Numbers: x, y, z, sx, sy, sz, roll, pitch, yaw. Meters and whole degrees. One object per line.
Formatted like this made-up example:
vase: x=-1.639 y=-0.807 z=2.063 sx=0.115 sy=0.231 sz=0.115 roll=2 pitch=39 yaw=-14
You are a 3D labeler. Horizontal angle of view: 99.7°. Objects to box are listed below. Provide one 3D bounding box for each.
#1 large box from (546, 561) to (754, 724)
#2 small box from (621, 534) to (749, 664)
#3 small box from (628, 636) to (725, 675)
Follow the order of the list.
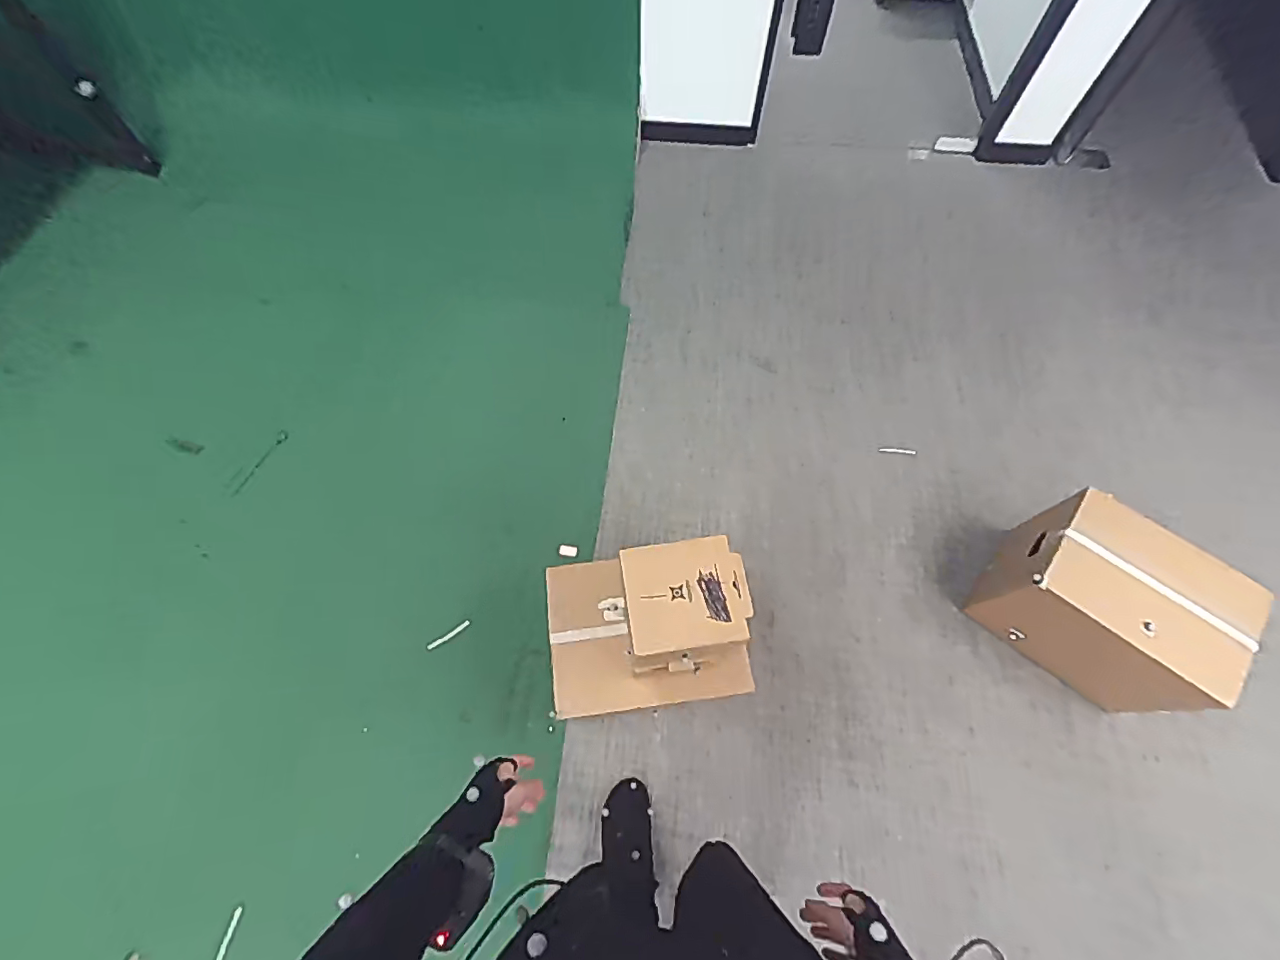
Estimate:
large box: x=0.015 y=0.373 z=1.262 sx=0.408 sy=0.320 sz=0.320 roll=-8 pitch=64 yaw=-3
small box: x=0.064 y=0.201 z=0.891 sx=0.179 sy=0.176 sz=0.168 roll=-8 pitch=65 yaw=-4
small box: x=0.059 y=0.274 z=1.038 sx=0.168 sy=0.176 sz=0.179 roll=-6 pitch=65 yaw=-4
